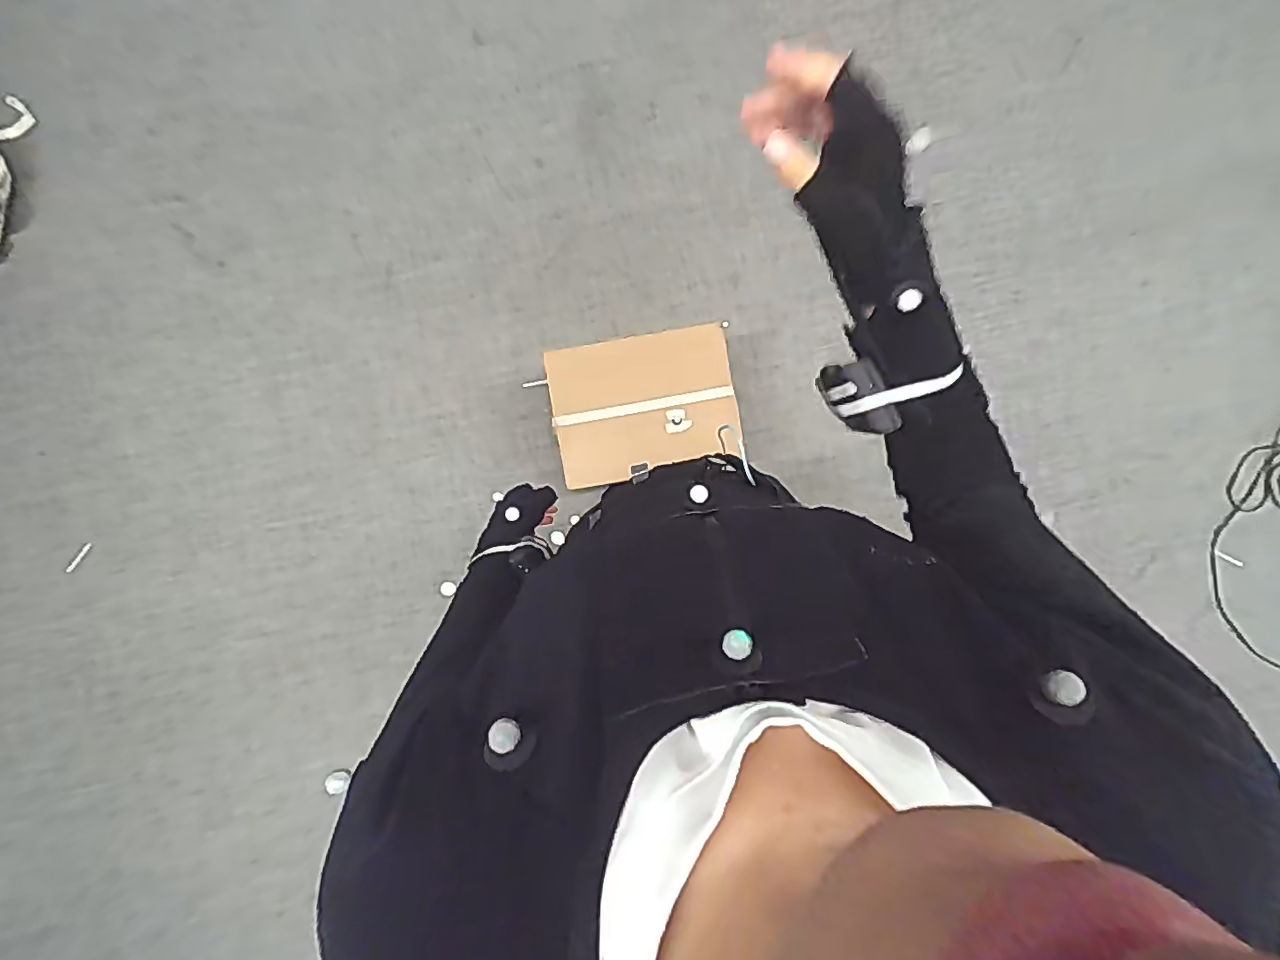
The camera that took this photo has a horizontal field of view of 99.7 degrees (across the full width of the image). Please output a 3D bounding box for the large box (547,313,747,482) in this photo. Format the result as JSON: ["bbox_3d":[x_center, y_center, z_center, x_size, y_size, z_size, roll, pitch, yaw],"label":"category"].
[{"bbox_3d":[0.016,-0.182,1.338,0.408,0.320,0.320,-10,91,1],"label":"large box"}]
